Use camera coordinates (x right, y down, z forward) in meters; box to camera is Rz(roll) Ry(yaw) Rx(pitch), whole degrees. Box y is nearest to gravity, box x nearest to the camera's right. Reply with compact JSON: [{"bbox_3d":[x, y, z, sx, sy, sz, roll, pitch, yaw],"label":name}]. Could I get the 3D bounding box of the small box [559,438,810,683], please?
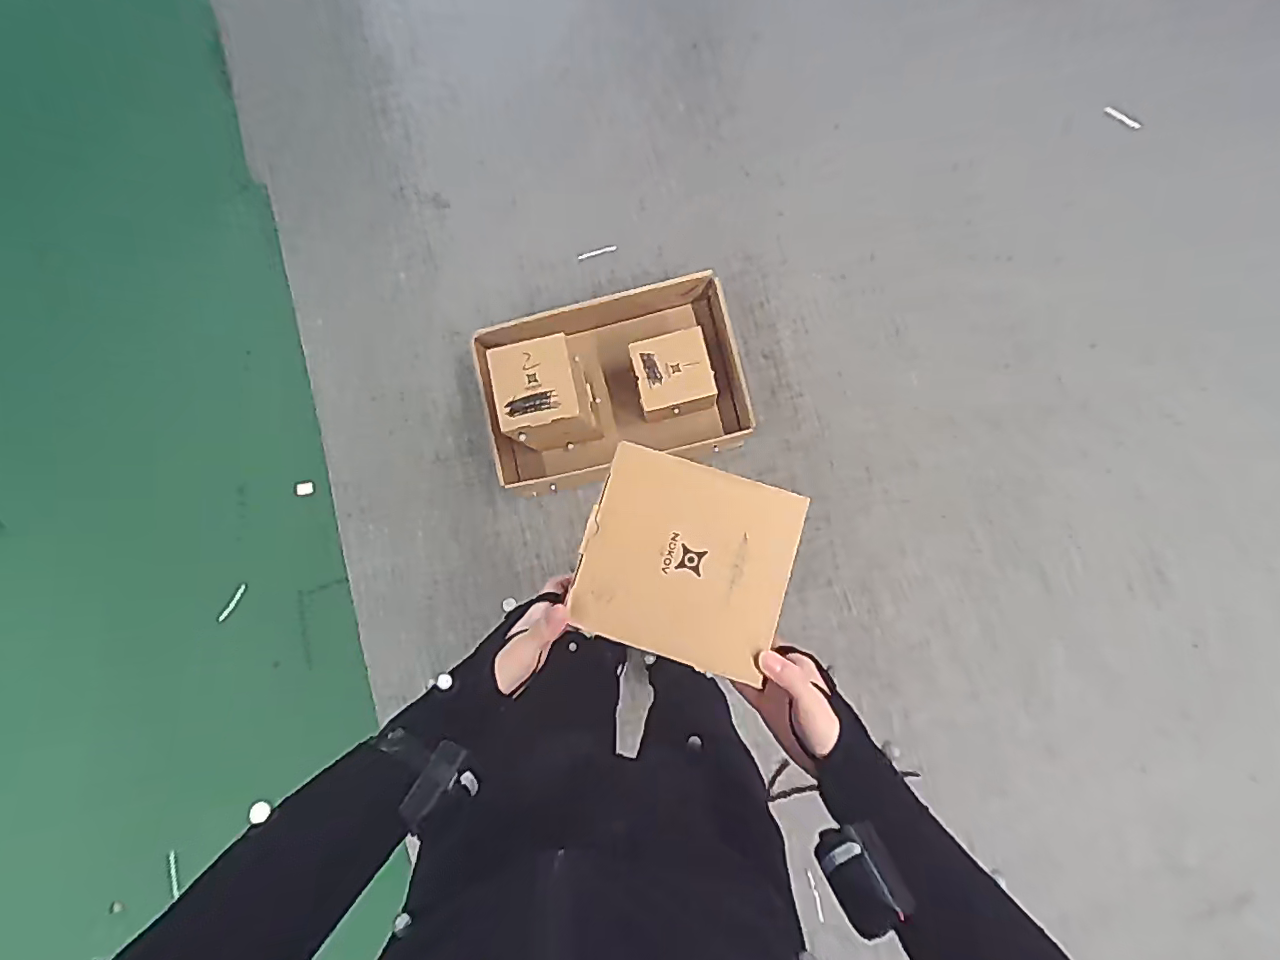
[{"bbox_3d":[0.039,0.078,0.532,0.179,0.176,0.168,18,81,3],"label":"small box"}]
